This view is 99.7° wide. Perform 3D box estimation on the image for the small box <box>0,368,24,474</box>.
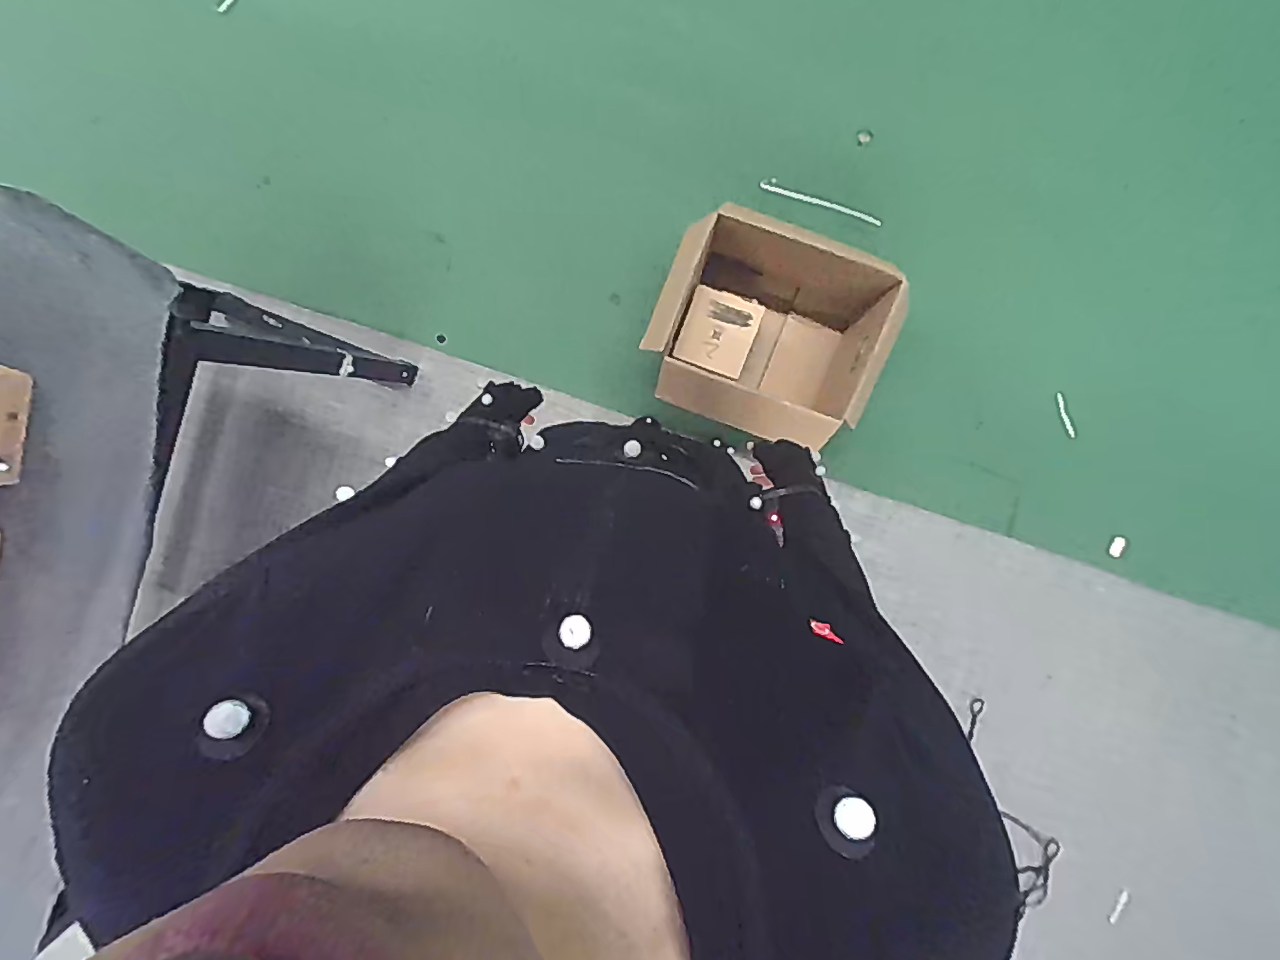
[{"bbox_3d":[-0.974,-0.087,0.699,0.179,0.176,0.168,18,97,2],"label":"small box"}]
